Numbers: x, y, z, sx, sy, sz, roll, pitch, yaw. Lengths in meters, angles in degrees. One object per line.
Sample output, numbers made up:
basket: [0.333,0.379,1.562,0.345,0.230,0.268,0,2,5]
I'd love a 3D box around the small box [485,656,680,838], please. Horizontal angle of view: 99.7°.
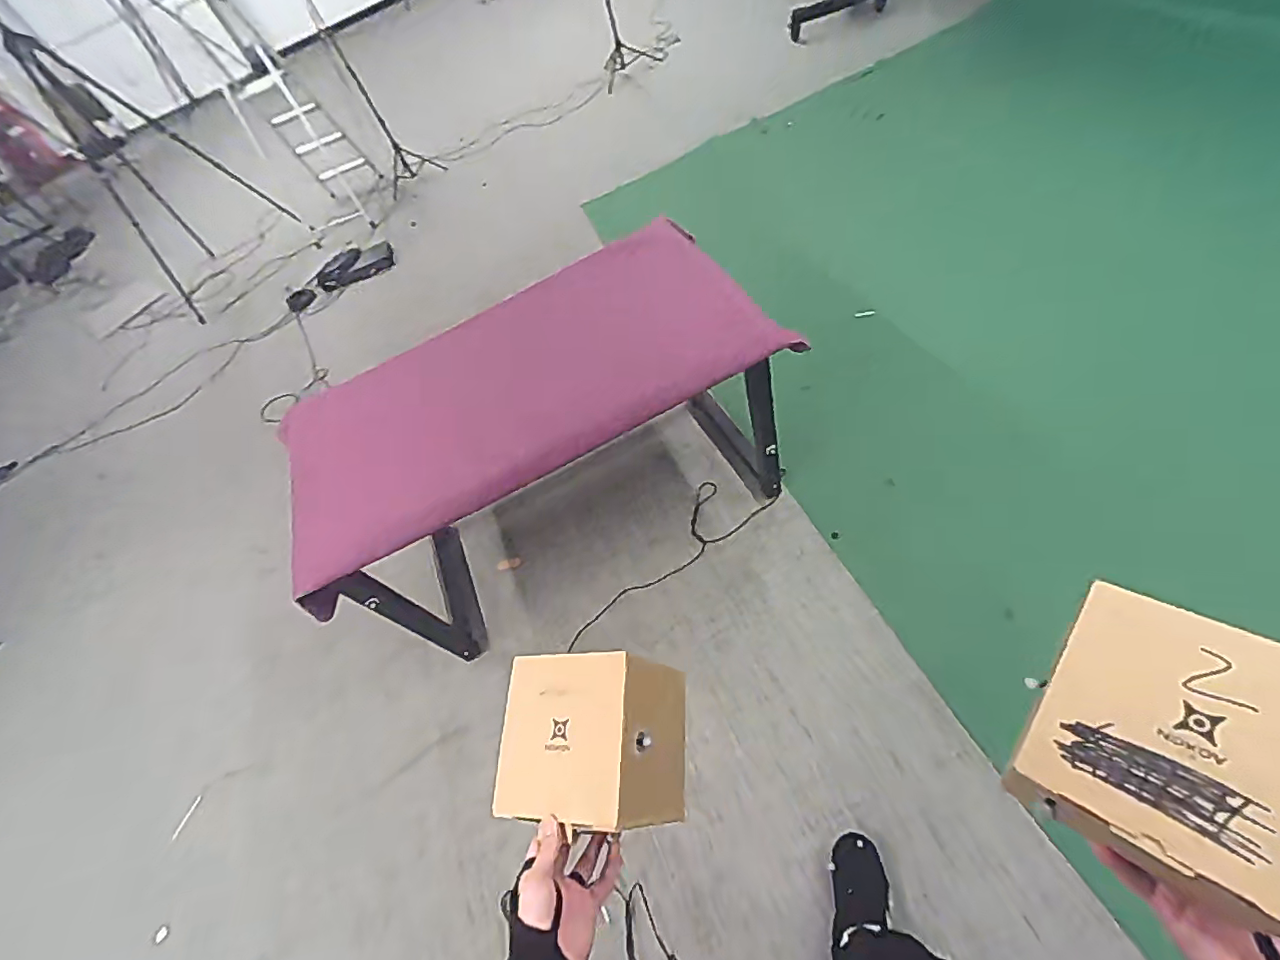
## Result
small box: [-0.059,0.322,0.664,0.168,0.176,0.179,-12,58,26]
